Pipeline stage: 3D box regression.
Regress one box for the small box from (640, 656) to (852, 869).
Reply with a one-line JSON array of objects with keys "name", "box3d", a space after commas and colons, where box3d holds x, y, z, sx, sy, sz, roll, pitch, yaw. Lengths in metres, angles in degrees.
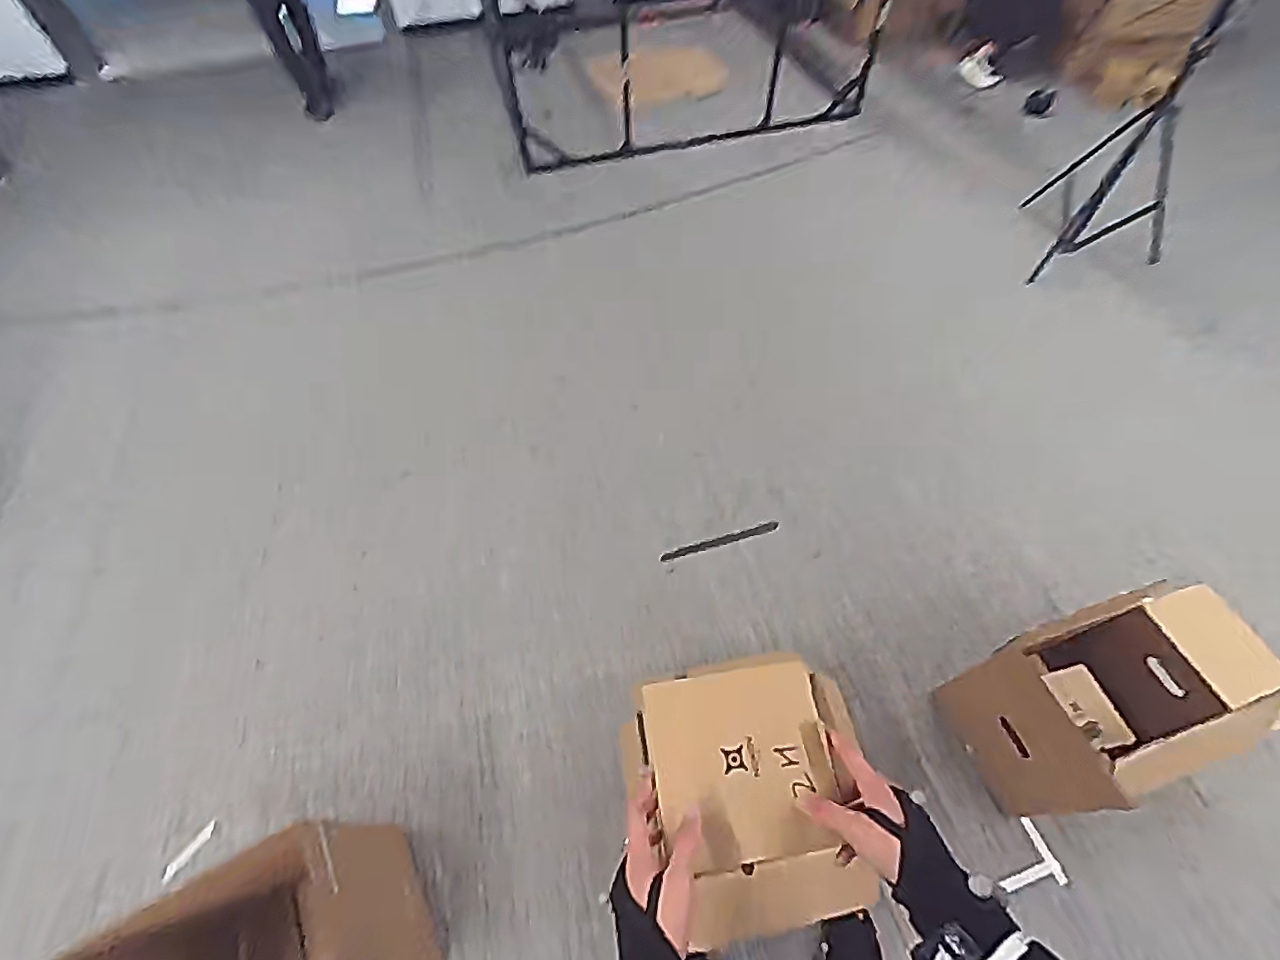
[{"name": "small box", "box3d": [0.097, 0.303, 0.590, 0.179, 0.176, 0.168, -7, 62, -4]}]
